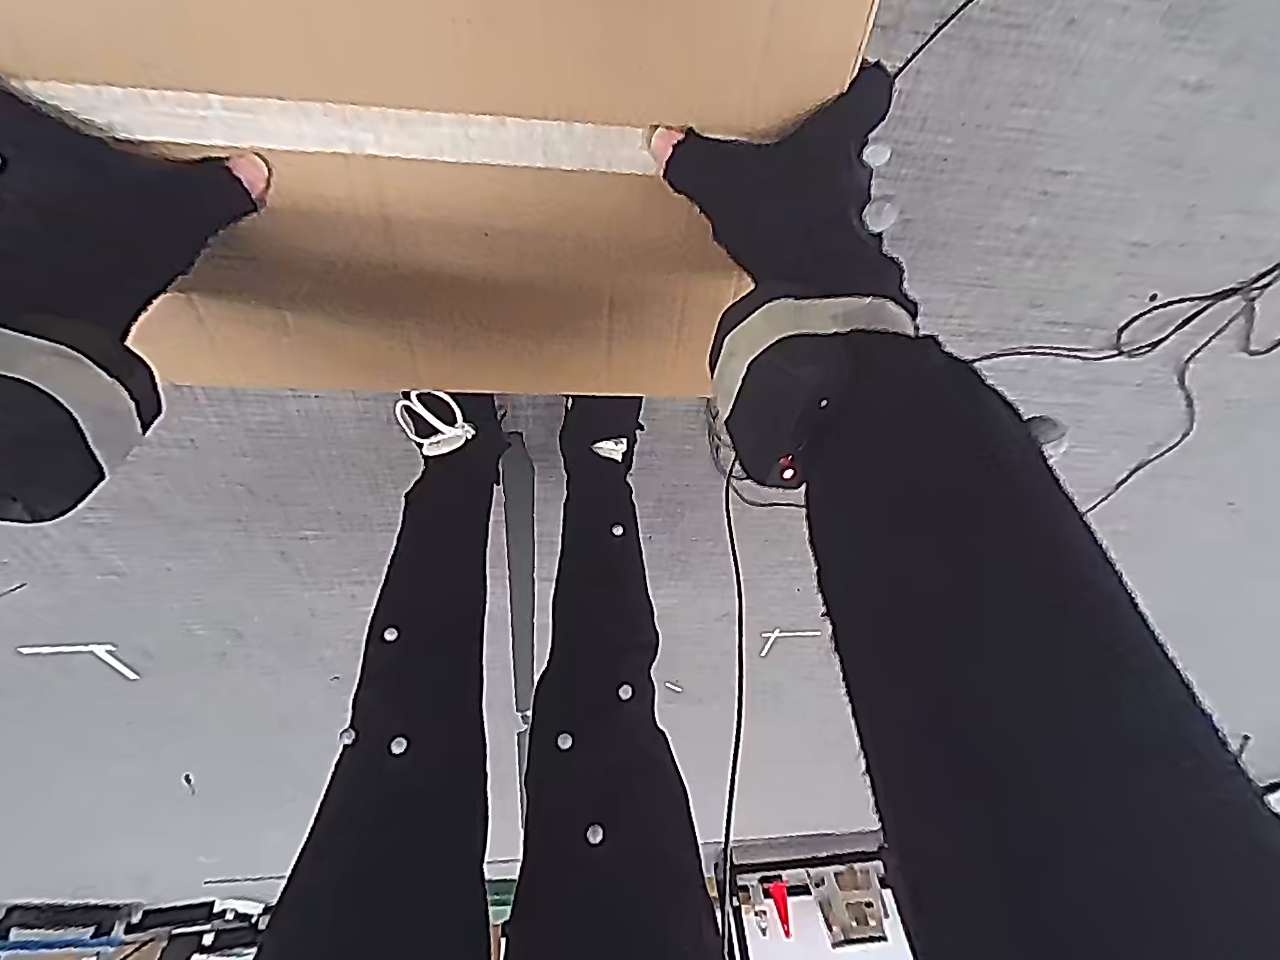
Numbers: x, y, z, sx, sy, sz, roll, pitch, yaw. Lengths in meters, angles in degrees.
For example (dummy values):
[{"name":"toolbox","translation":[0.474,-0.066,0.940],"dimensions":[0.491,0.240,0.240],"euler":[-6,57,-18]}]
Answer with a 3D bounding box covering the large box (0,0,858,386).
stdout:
[{"name":"large box","translation":[-0.112,-0.283,0.377],"dimensions":[0.408,0.320,0.320],"euler":[0,136,-7]}]
